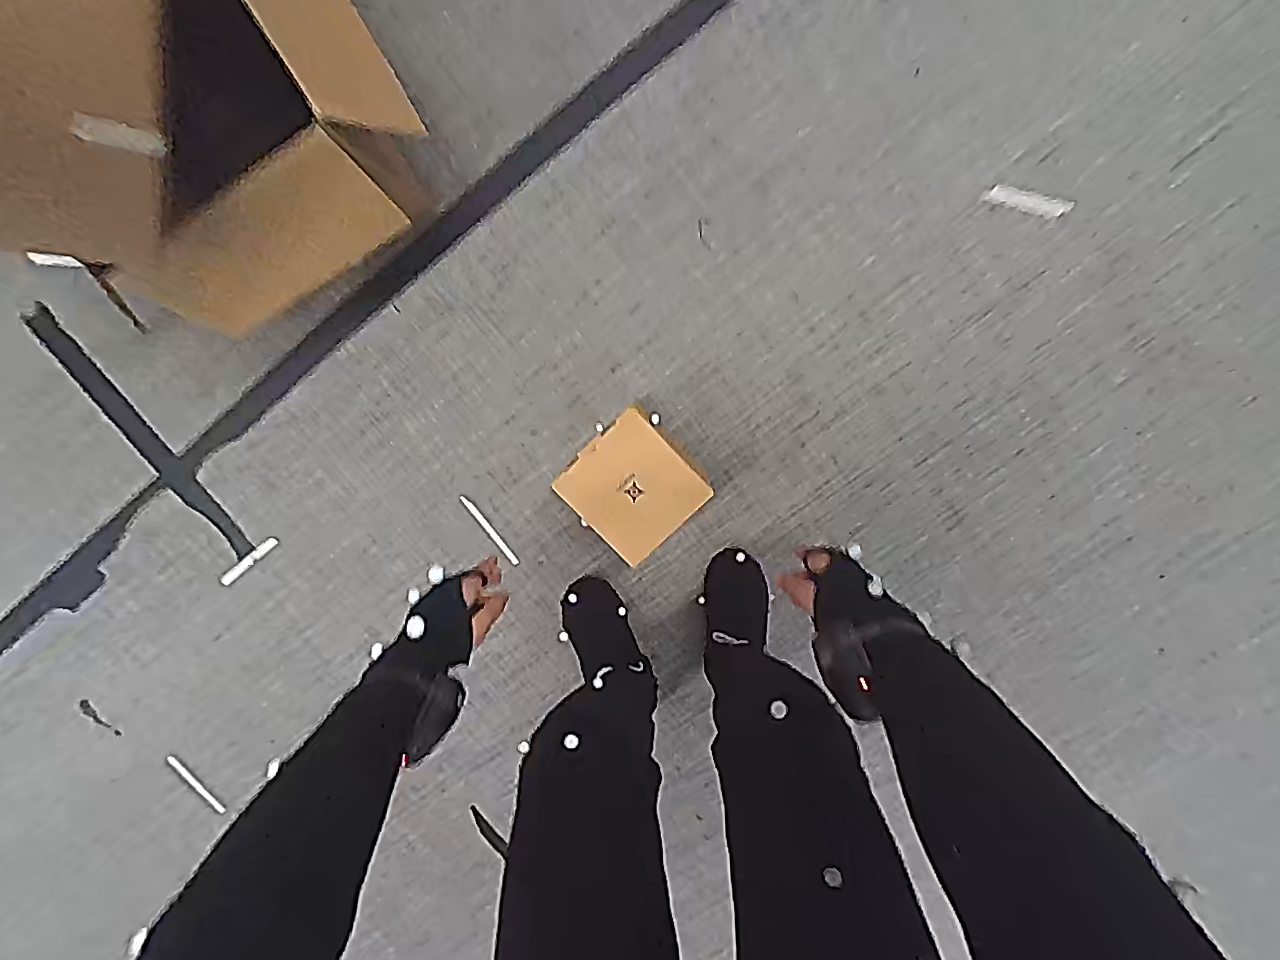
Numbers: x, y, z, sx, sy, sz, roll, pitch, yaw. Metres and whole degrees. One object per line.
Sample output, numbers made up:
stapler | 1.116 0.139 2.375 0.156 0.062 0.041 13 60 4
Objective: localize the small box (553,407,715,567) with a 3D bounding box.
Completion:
small box | -0.006 -0.001 0.846 0.168 0.176 0.179 -44 96 9
